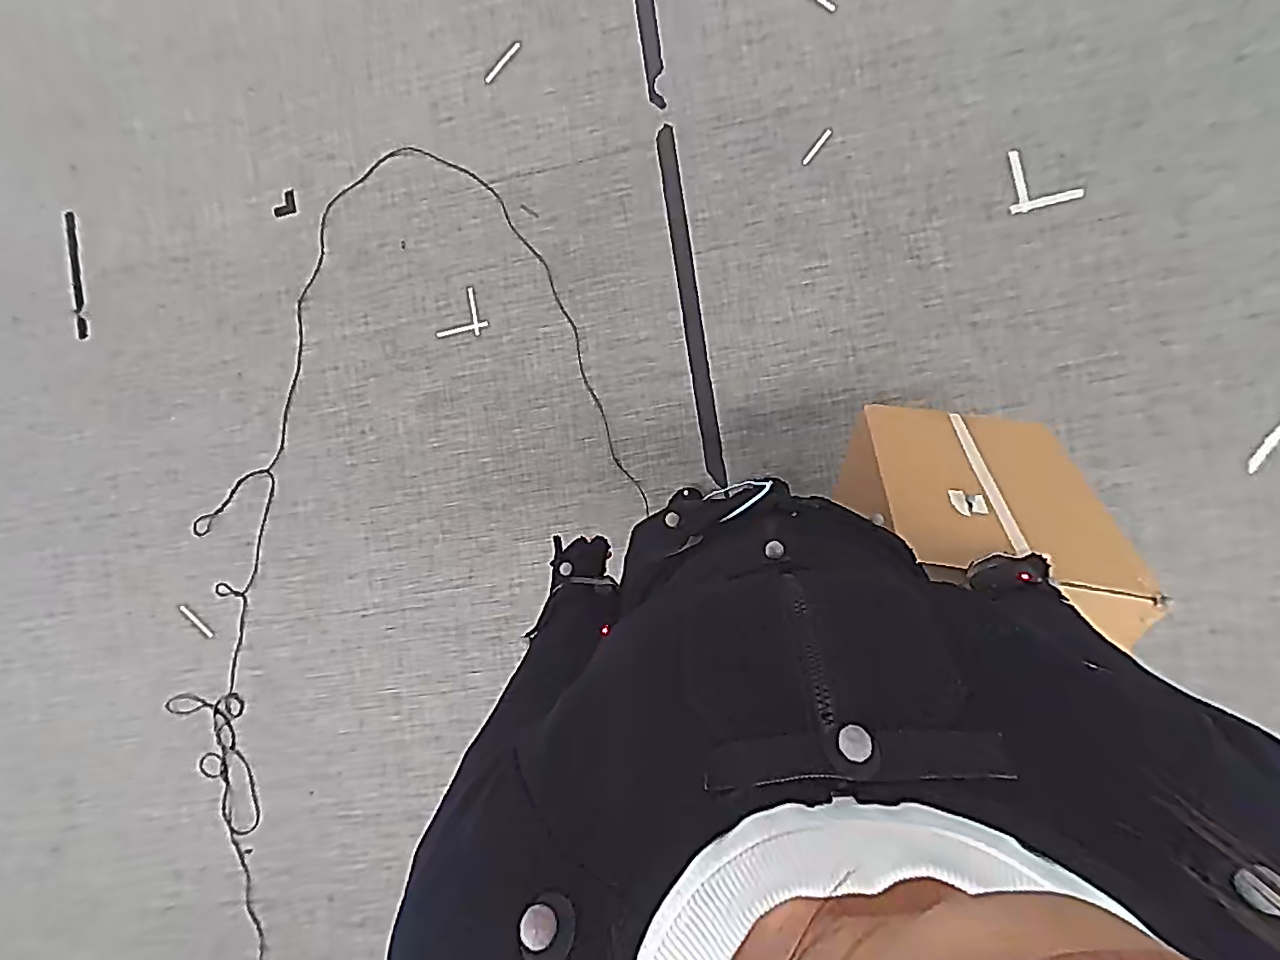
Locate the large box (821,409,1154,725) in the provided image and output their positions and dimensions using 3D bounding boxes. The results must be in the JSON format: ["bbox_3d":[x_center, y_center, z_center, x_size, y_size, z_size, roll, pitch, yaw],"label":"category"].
[{"bbox_3d":[0.510,0.128,0.920,0.320,0.408,0.320,8,130,9],"label":"large box"}]
